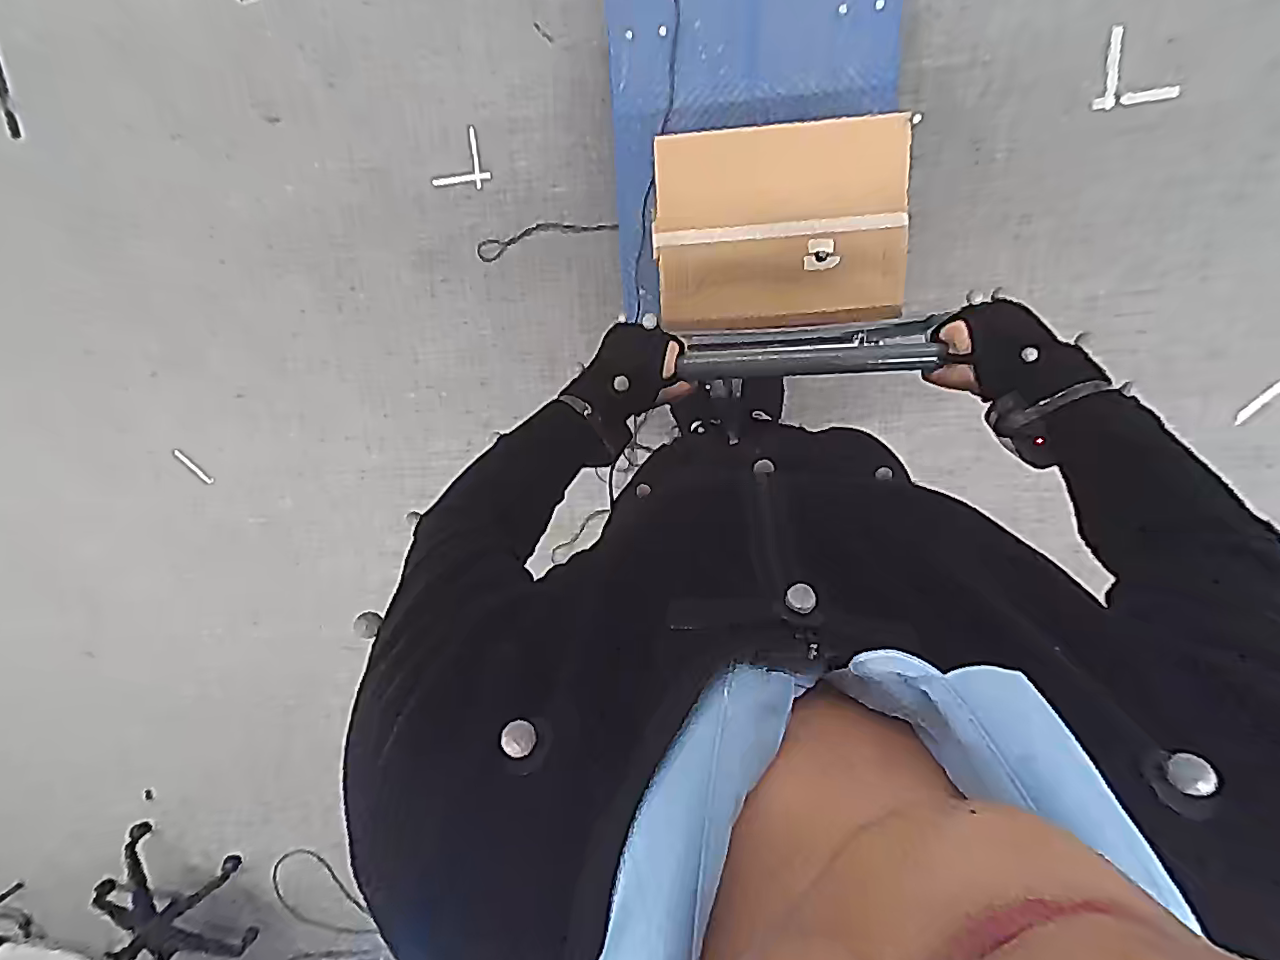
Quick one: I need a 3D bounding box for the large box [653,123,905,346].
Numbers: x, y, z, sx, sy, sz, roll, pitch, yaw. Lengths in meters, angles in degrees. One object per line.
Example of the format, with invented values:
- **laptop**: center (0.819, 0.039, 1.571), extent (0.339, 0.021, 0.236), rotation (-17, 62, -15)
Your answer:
- **large box**: center (0.240, -0.434, 1.042), extent (0.408, 0.320, 0.320), rotation (-2, 104, 5)
